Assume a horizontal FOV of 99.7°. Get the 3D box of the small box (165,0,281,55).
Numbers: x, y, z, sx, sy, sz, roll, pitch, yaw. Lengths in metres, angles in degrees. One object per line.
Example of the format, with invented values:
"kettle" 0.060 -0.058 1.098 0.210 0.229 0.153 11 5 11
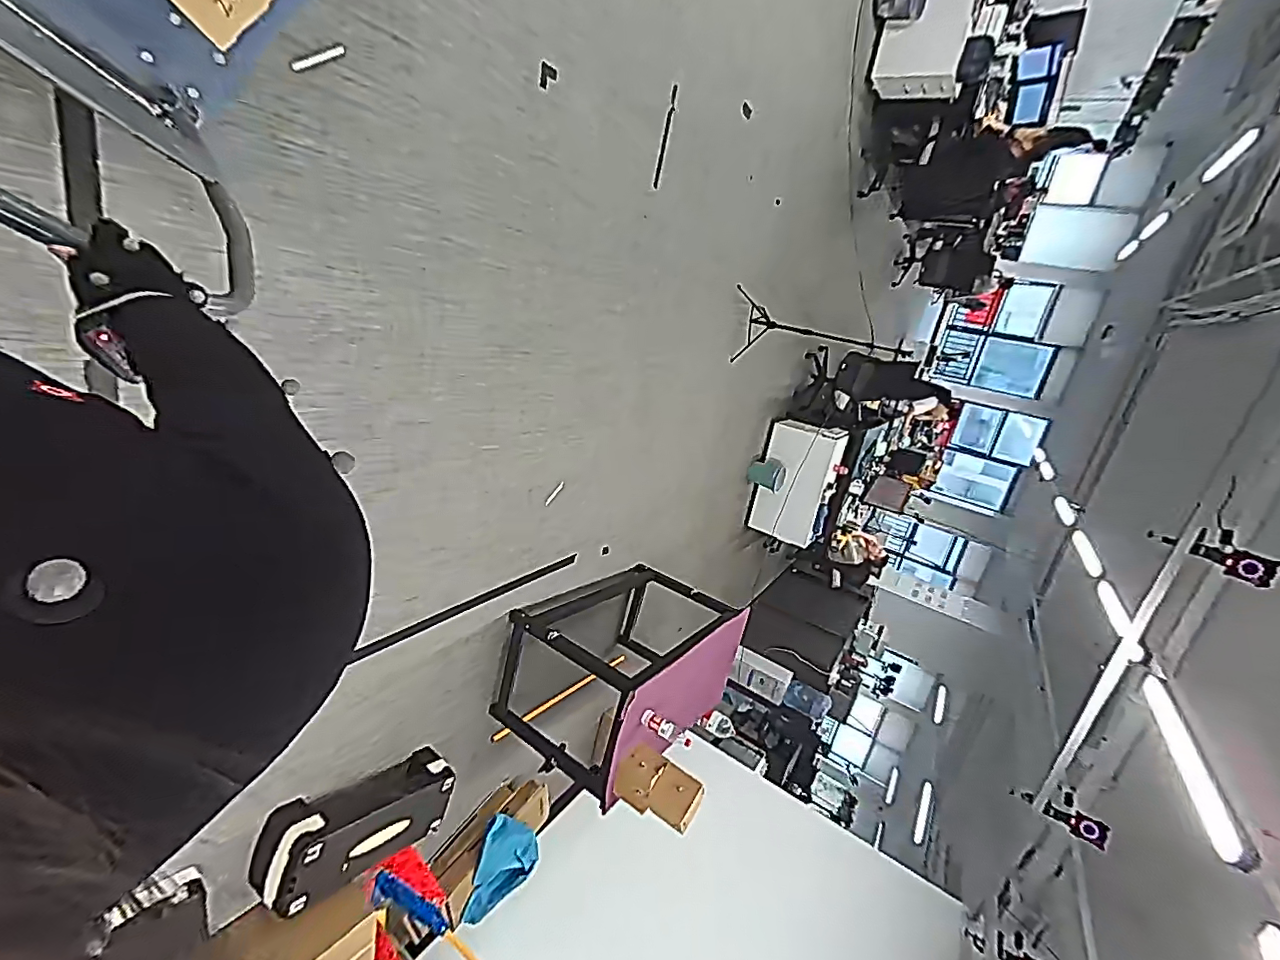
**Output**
"small box" -0.684 -0.808 0.823 0.168 0.176 0.179 -44 151 1
